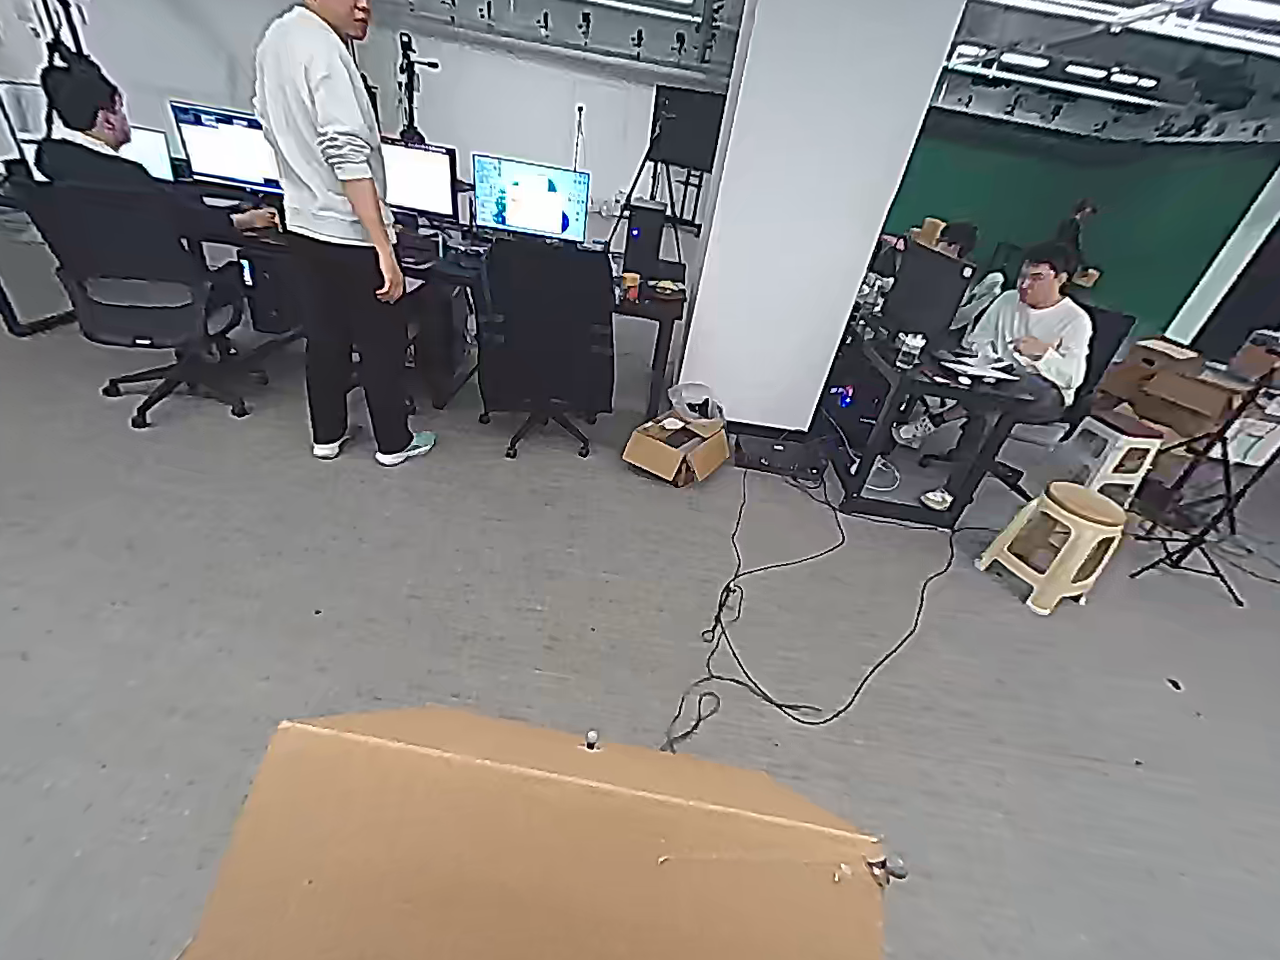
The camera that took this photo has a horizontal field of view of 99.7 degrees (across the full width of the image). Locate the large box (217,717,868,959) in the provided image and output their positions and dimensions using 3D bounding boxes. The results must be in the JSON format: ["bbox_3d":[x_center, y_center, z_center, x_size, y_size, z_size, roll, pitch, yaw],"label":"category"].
[{"bbox_3d":[-0.073,0.398,0.453,0.408,0.320,0.320,10,70,1],"label":"large box"}]
